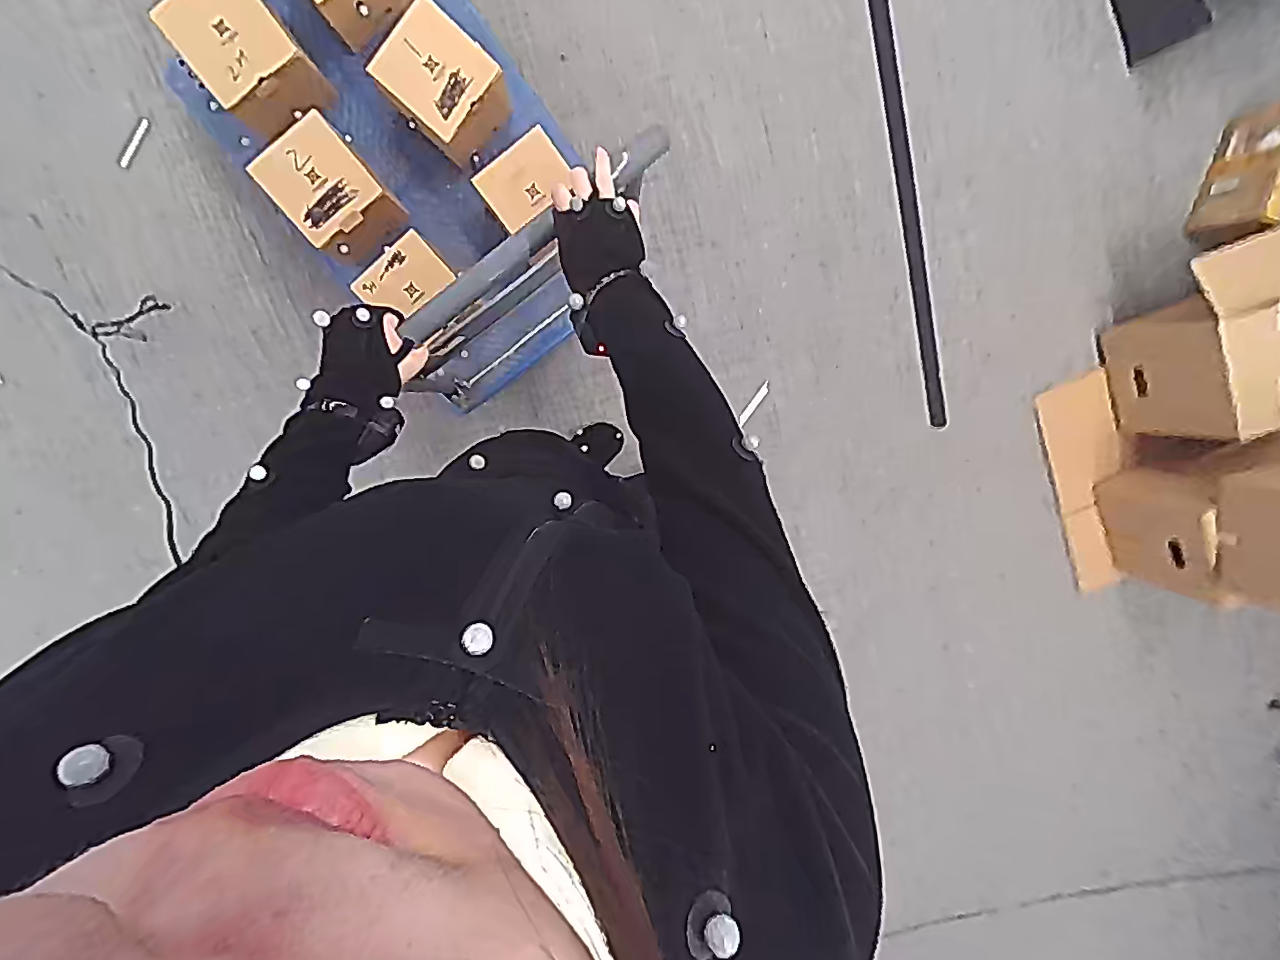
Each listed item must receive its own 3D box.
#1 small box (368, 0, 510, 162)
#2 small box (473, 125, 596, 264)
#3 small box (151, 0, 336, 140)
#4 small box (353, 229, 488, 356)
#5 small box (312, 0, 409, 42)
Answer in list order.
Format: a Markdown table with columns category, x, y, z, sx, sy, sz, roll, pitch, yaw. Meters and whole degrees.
| category | x | y | z | sx | sy | sz | roll | pitch | yaw |
| --- | --- | --- | --- | --- | --- | --- | --- | --- | --- |
| small box | -0.371 | -0.750 | 1.039 | 0.179 | 0.176 | 0.168 | 40 | 95 | -12 |
| small box | -0.205 | -0.563 | 1.101 | 0.168 | 0.176 | 0.179 | -37 | 103 | 2 |
| small box | -0.710 | -0.777 | 0.993 | 0.168 | 0.176 | 0.179 | -36 | 105 | 2 |
| small box | -0.438 | -0.376 | 1.113 | 0.168 | 0.176 | 0.179 | -41 | 104 | 2 |
| small box | -0.549 | -0.948 | 0.975 | 0.168 | 0.176 | 0.179 | -41 | 104 | 4 |
